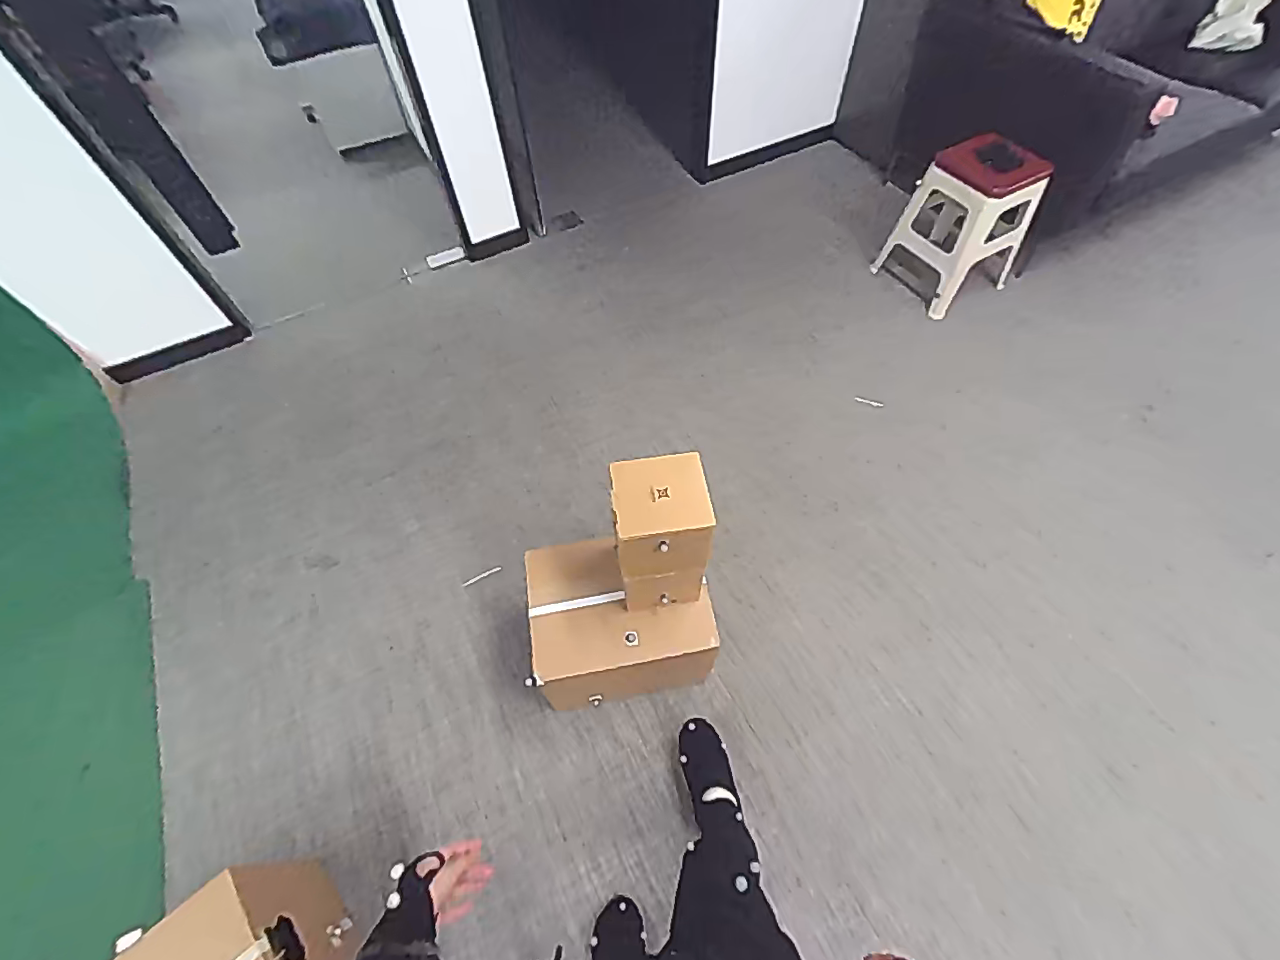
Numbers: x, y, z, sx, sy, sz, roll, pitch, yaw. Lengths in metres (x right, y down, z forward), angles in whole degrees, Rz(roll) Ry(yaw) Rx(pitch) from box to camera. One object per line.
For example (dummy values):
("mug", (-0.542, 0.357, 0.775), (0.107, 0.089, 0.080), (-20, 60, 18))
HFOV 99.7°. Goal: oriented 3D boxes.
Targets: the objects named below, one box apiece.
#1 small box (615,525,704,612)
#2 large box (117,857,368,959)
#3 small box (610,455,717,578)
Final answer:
("small box", (0.036, 0.166, 1.176), (0.168, 0.176, 0.179), (-9, 56, -4))
("large box", (-0.775, 0.979, 0.967), (0.408, 0.320, 0.320), (-38, 63, -19))
("small box", (0.040, 0.073, 1.042), (0.179, 0.176, 0.168), (-8, 56, -3))
